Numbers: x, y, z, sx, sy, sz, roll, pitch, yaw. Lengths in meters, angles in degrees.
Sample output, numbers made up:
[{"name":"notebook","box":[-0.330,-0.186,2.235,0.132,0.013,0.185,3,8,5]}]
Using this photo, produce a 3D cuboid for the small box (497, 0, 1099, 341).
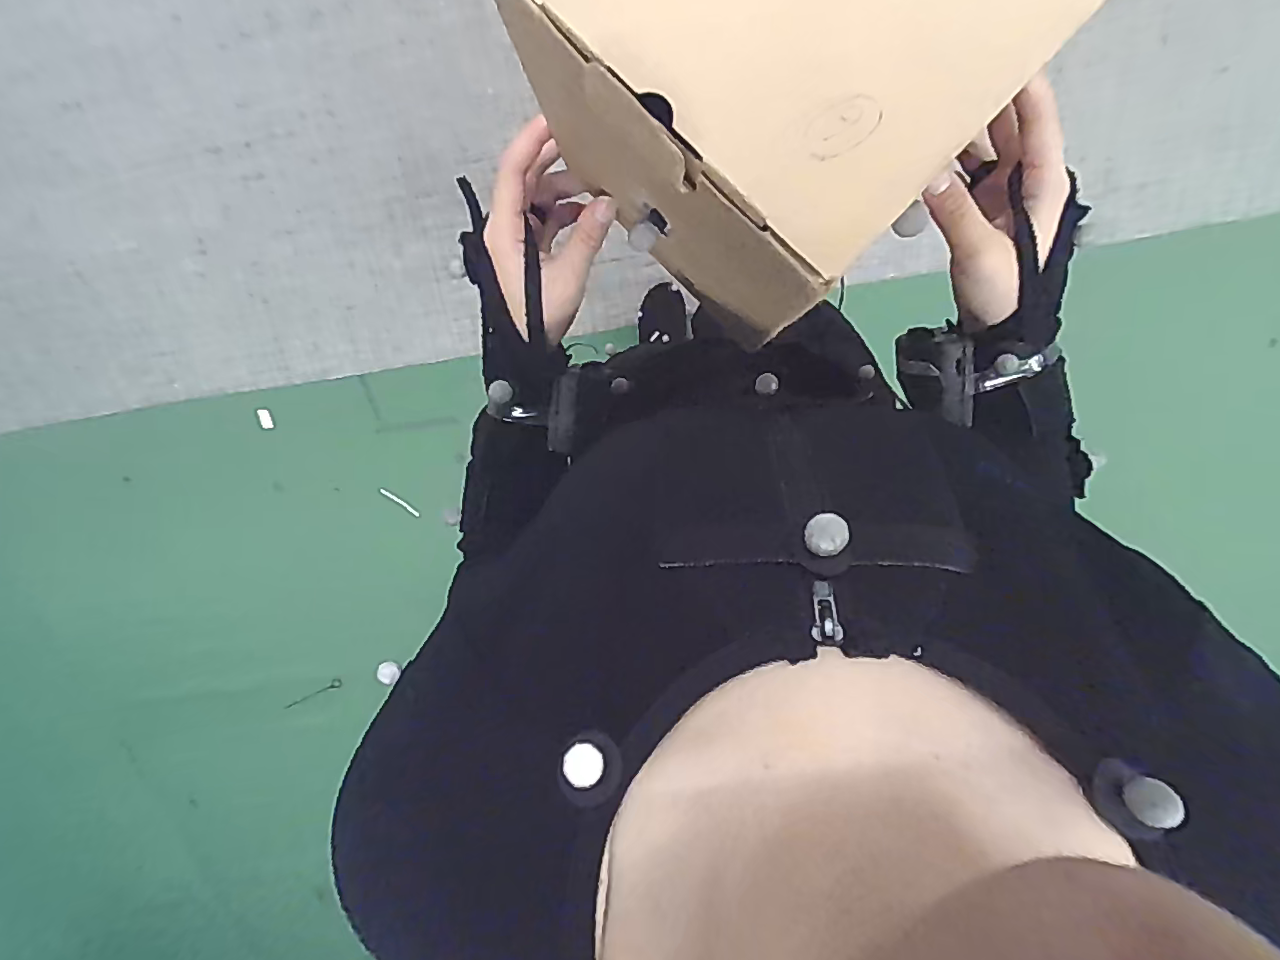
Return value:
[{"name":"small box","box":[0.069,-0.191,0.264,0.168,0.176,0.179,44,97,-1]}]
